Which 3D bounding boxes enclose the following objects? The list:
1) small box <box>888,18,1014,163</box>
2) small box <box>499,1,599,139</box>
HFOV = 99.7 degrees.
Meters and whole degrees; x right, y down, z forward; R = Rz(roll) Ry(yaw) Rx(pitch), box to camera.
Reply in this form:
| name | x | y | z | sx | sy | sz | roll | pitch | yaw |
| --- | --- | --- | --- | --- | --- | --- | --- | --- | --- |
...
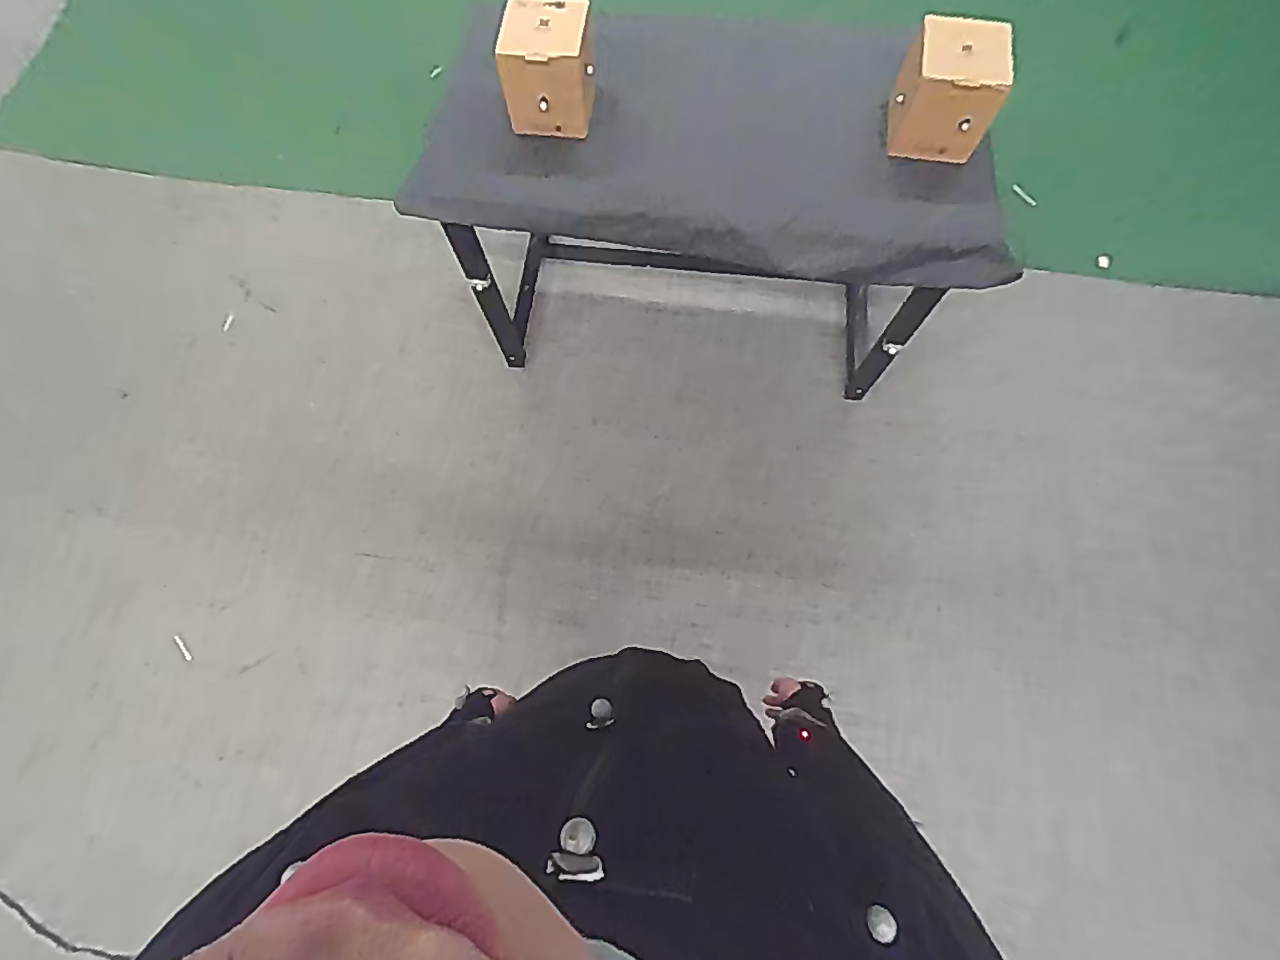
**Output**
| name | x | y | z | sx | sy | sz | roll | pitch | yaw |
| --- | --- | --- | --- | --- | --- | --- | --- | --- | --- |
| small box | 0.621 | -0.781 | 1.097 | 0.168 | 0.176 | 0.179 | 10 | 70 | 4 |
| small box | -0.182 | -0.858 | 1.142 | 0.168 | 0.176 | 0.179 | 5 | 72 | 2 |
